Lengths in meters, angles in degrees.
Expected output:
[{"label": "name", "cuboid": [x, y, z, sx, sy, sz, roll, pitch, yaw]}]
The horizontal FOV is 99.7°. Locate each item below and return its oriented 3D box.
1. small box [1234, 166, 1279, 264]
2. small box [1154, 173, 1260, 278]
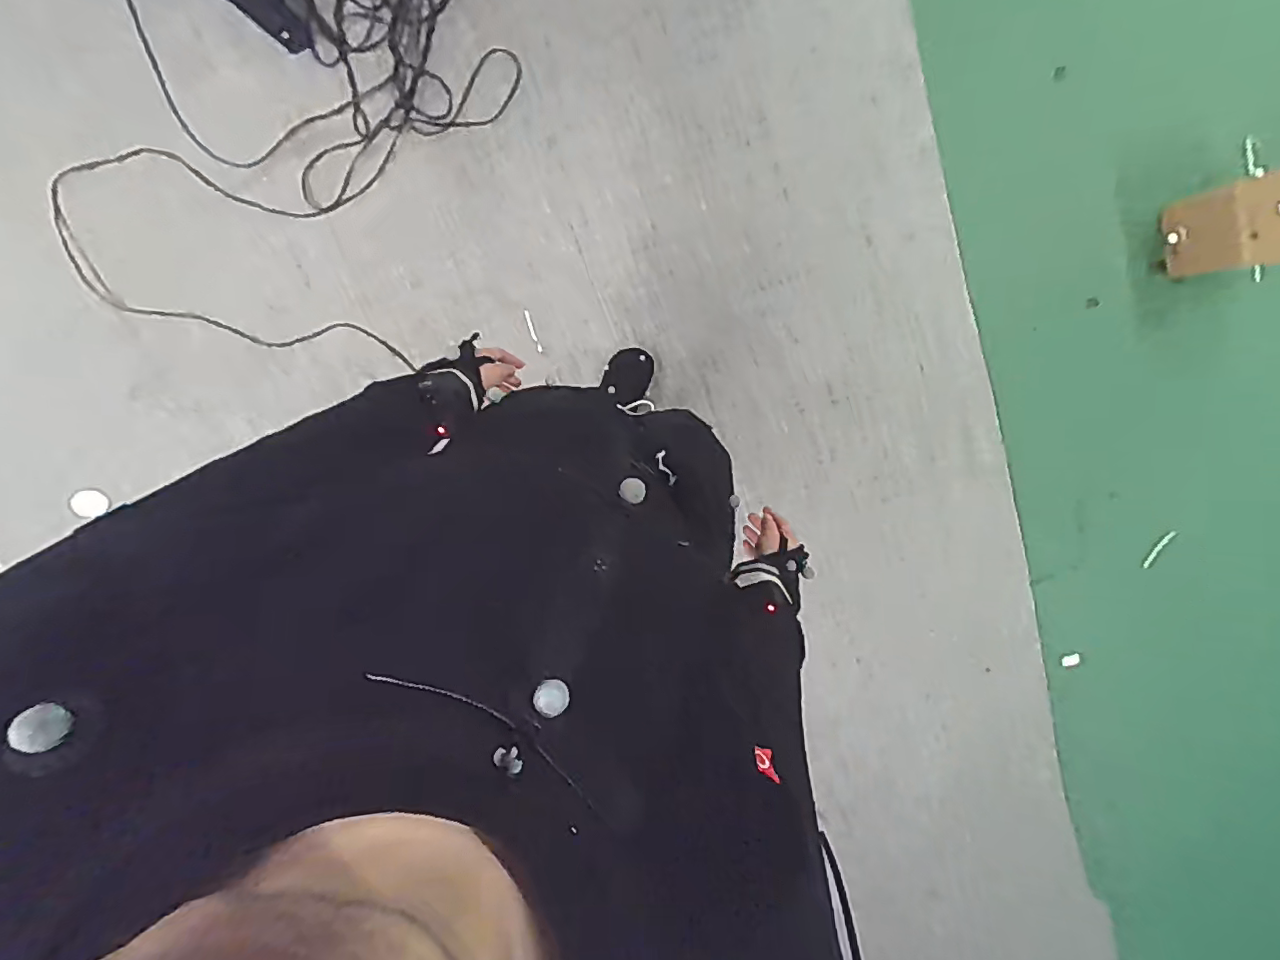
[{"label": "small box", "cuboid": [1.281, -0.524, 1.013, 0.179, 0.176, 0.168, -22, 103, 4]}, {"label": "small box", "cuboid": [1.285, -0.556, 1.173, 0.179, 0.176, 0.168, -20, 103, 5]}]
